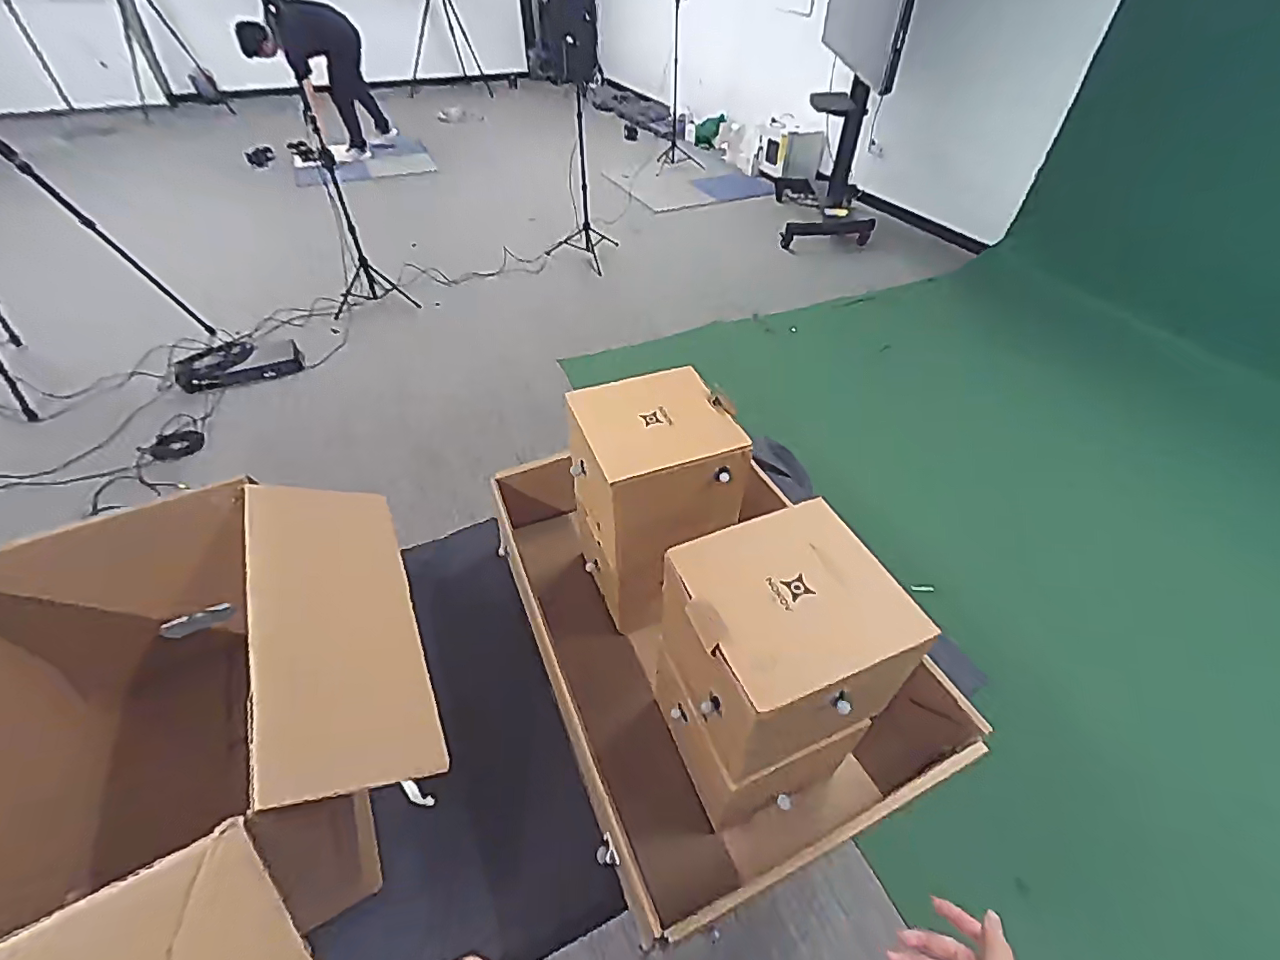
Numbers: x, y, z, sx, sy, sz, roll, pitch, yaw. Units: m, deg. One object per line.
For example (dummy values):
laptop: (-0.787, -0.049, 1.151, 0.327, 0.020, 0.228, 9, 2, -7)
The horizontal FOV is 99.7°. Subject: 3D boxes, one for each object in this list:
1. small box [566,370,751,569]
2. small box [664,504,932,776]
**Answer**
small box: (0.017, -0.012, 0.691, 0.179, 0.176, 0.168, -16, 49, -16)
small box: (0.133, 0.156, 0.529, 0.179, 0.176, 0.168, -17, 49, -16)
